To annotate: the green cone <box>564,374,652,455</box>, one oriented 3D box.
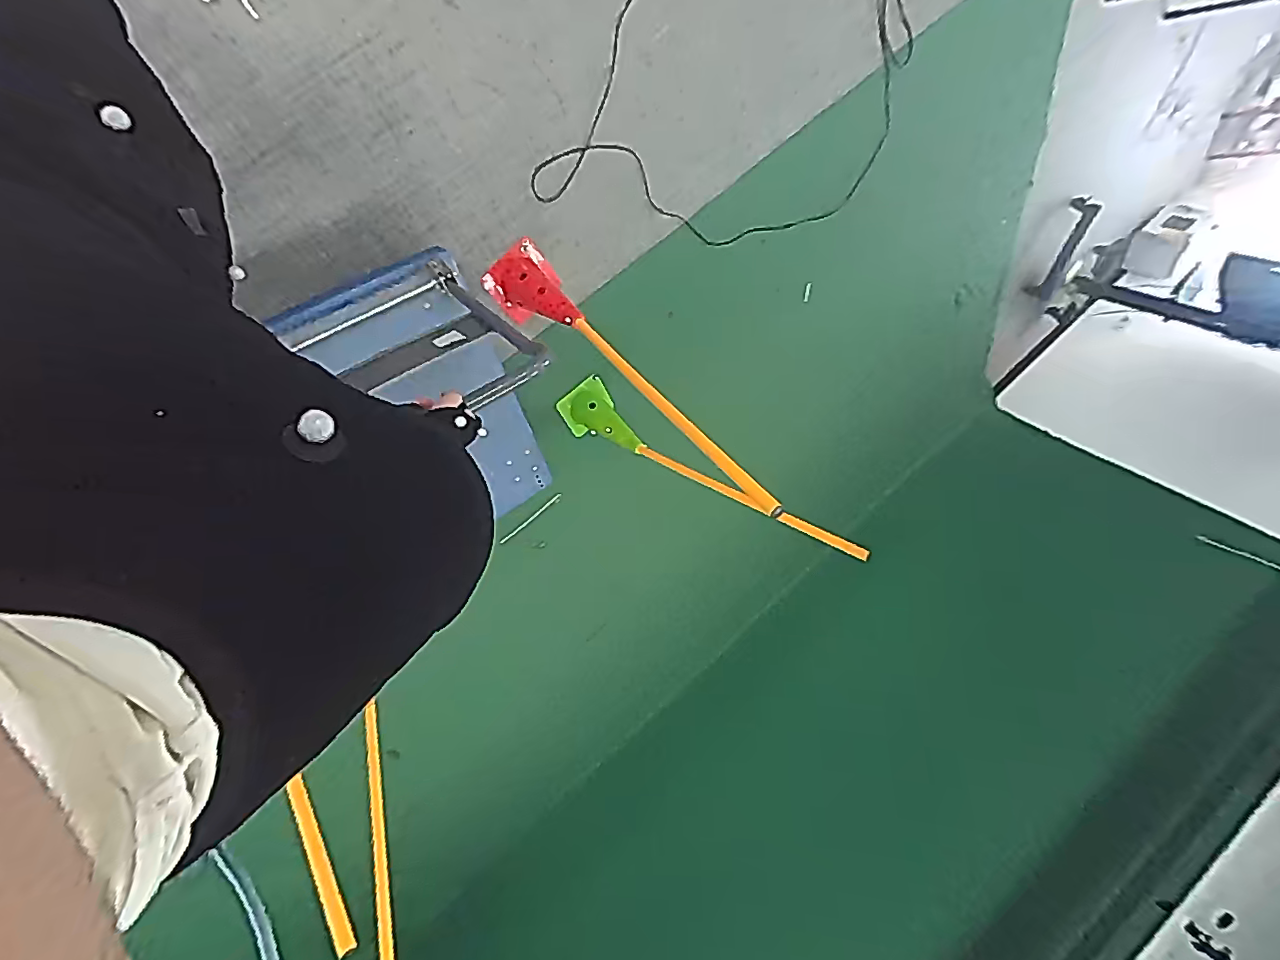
[{"bbox_3d":[-0.082,-0.195,1.954,0.200,0.368,0.202,-41,142,-8],"label":"green cone"}]
